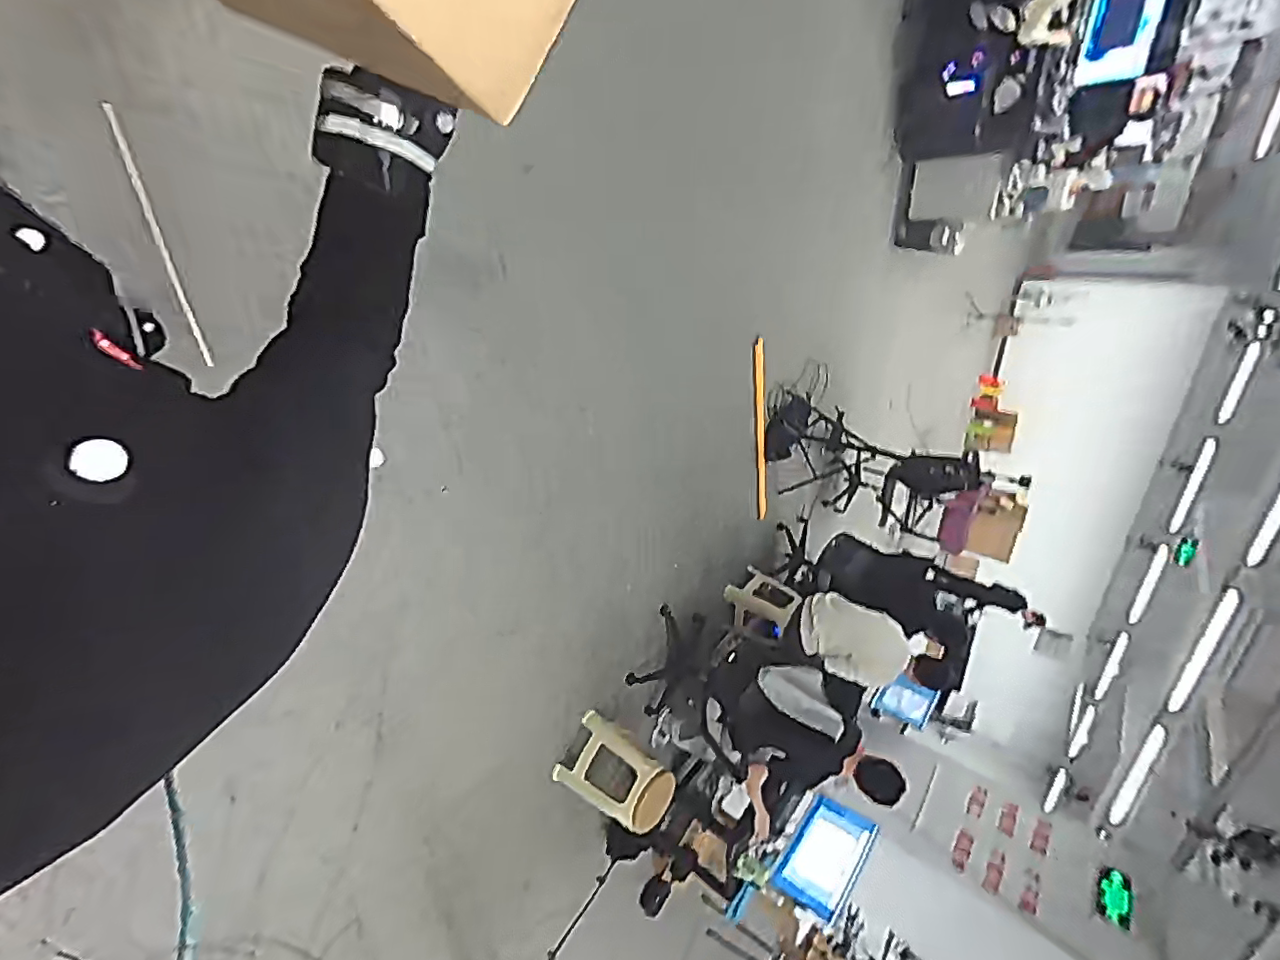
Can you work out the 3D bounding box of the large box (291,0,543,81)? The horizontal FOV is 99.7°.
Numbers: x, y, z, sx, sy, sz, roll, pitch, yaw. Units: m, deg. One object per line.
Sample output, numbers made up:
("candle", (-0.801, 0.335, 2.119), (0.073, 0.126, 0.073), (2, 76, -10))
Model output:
("large box", (-0.190, -0.408, 0.115), (0.320, 0.320, 0.408), (-57, 156, 11))
